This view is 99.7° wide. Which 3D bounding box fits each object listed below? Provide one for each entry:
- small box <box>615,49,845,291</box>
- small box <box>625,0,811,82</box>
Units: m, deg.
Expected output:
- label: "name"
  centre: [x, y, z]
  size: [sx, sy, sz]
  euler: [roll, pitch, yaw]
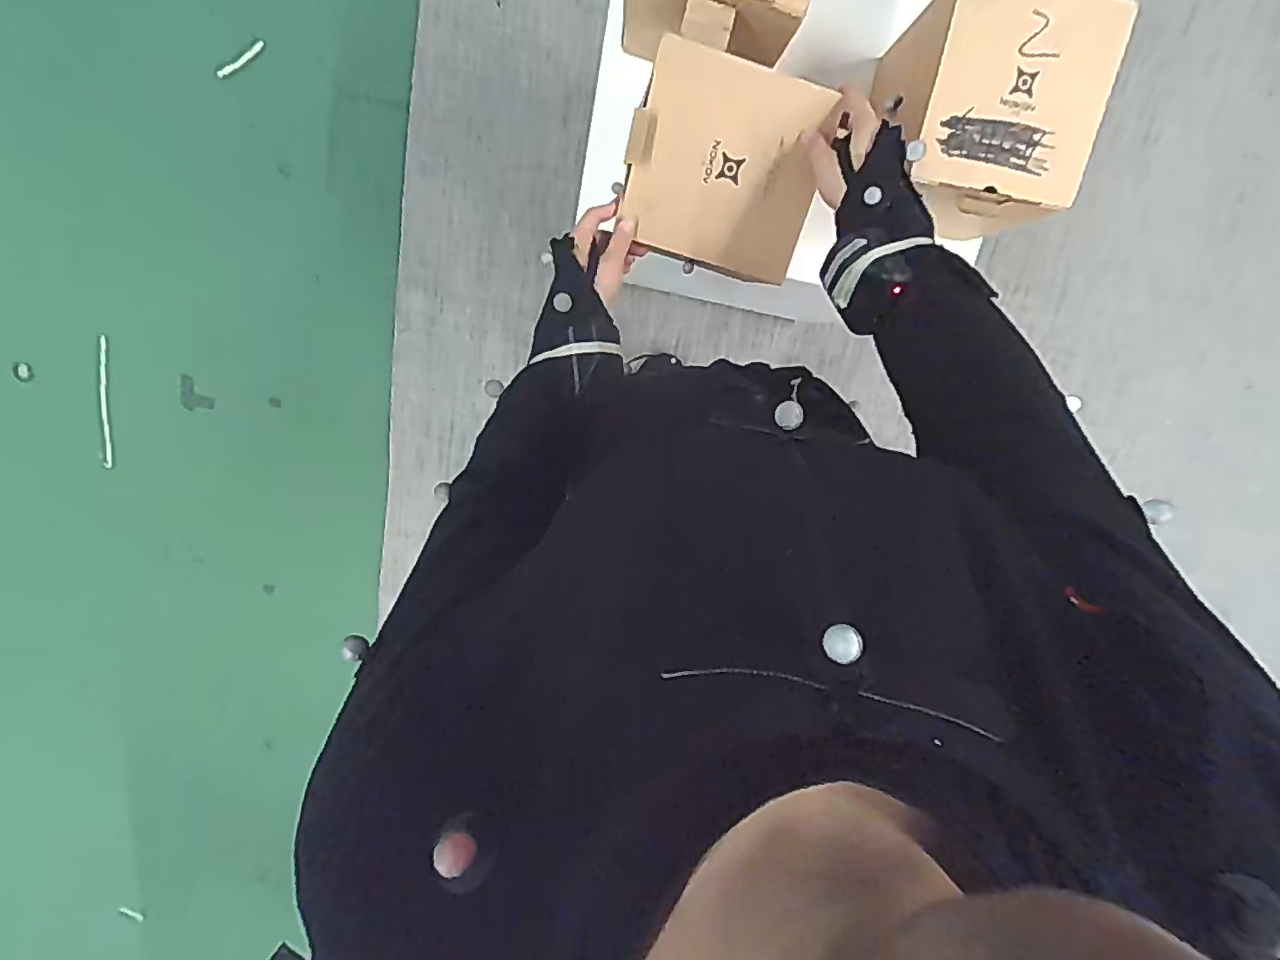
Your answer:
- label: "small box"
  centre: [0.078, -0.307, 0.575]
  size: [0.179, 0.176, 0.168]
  euler: [14, 110, -7]
- label: "small box"
  centre: [0.082, -0.517, 0.530]
  size: [0.168, 0.176, 0.179]
  euler: [13, 104, -7]
